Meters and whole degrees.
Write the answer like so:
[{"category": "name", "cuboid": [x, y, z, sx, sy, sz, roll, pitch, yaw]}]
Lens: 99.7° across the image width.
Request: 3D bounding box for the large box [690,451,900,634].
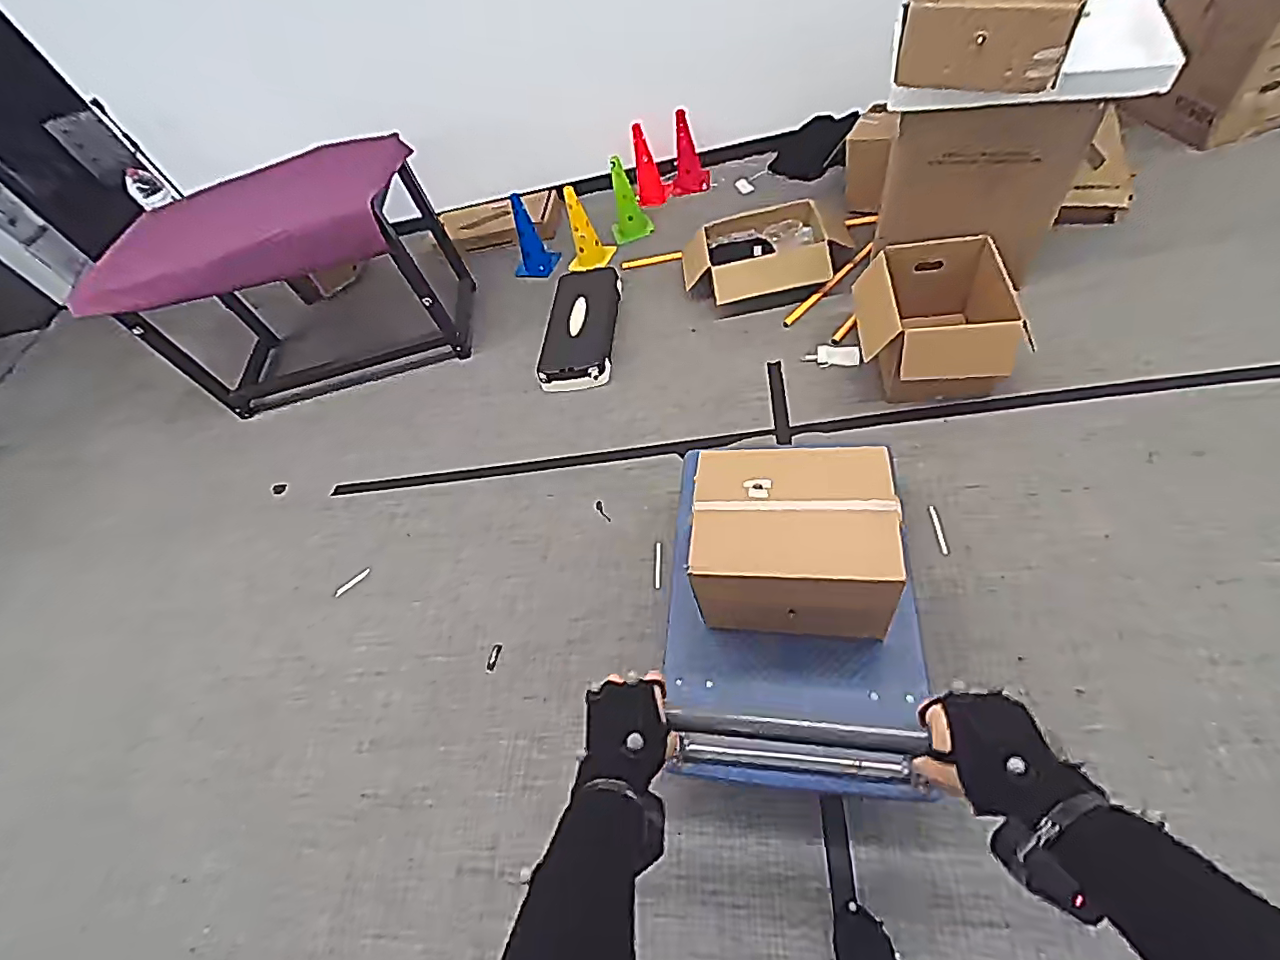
[{"category": "large box", "cuboid": [0.347, 0.156, 1.253, 0.408, 0.320, 0.320, -2, 54, 15]}]
